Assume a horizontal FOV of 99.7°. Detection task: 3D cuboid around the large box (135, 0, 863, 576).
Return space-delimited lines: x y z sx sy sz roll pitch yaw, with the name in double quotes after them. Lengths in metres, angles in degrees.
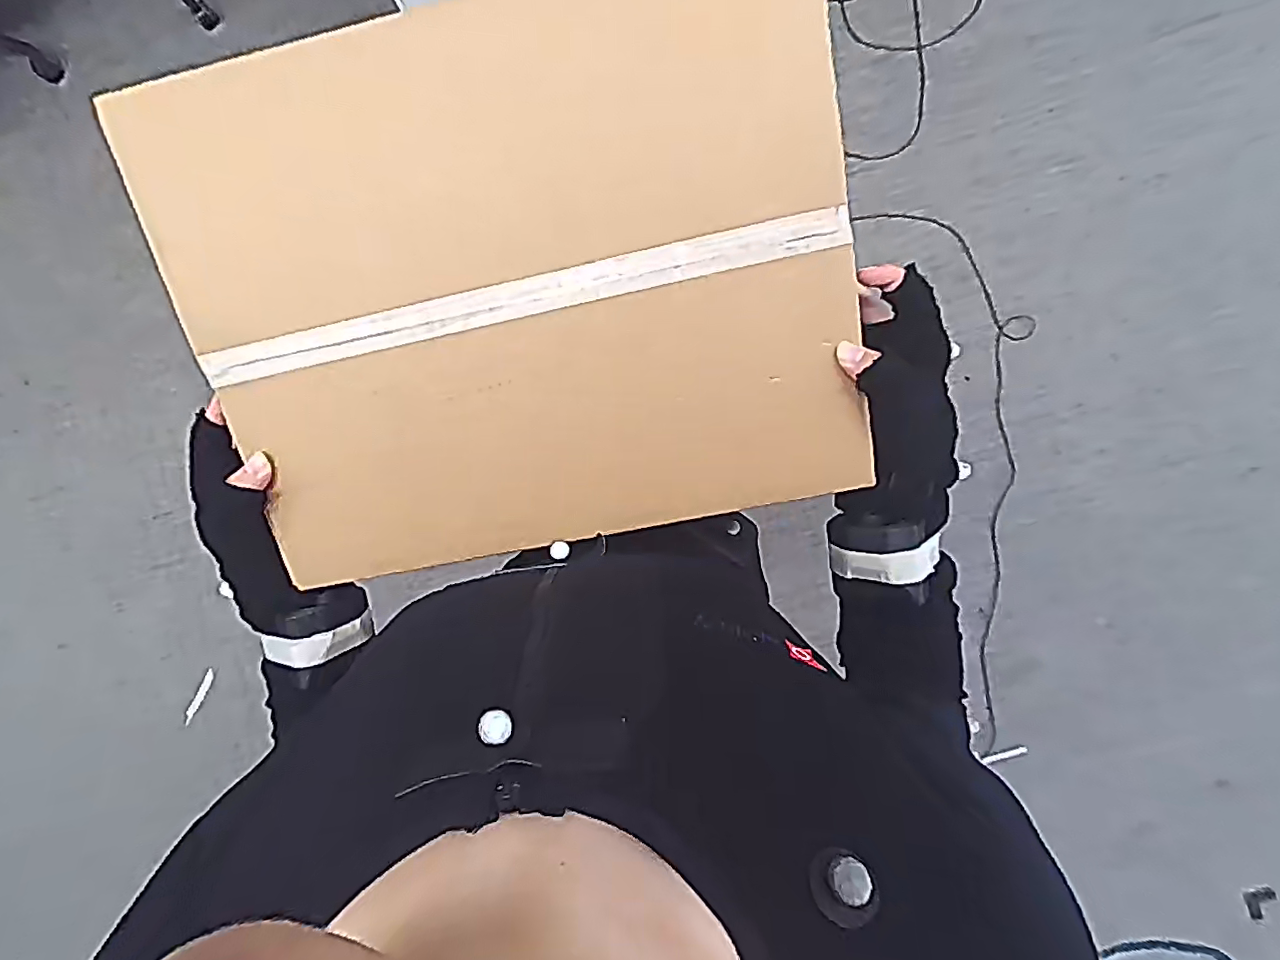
-0.073 -0.150 0.481 0.408 0.320 0.320 -11 105 5 "large box"
